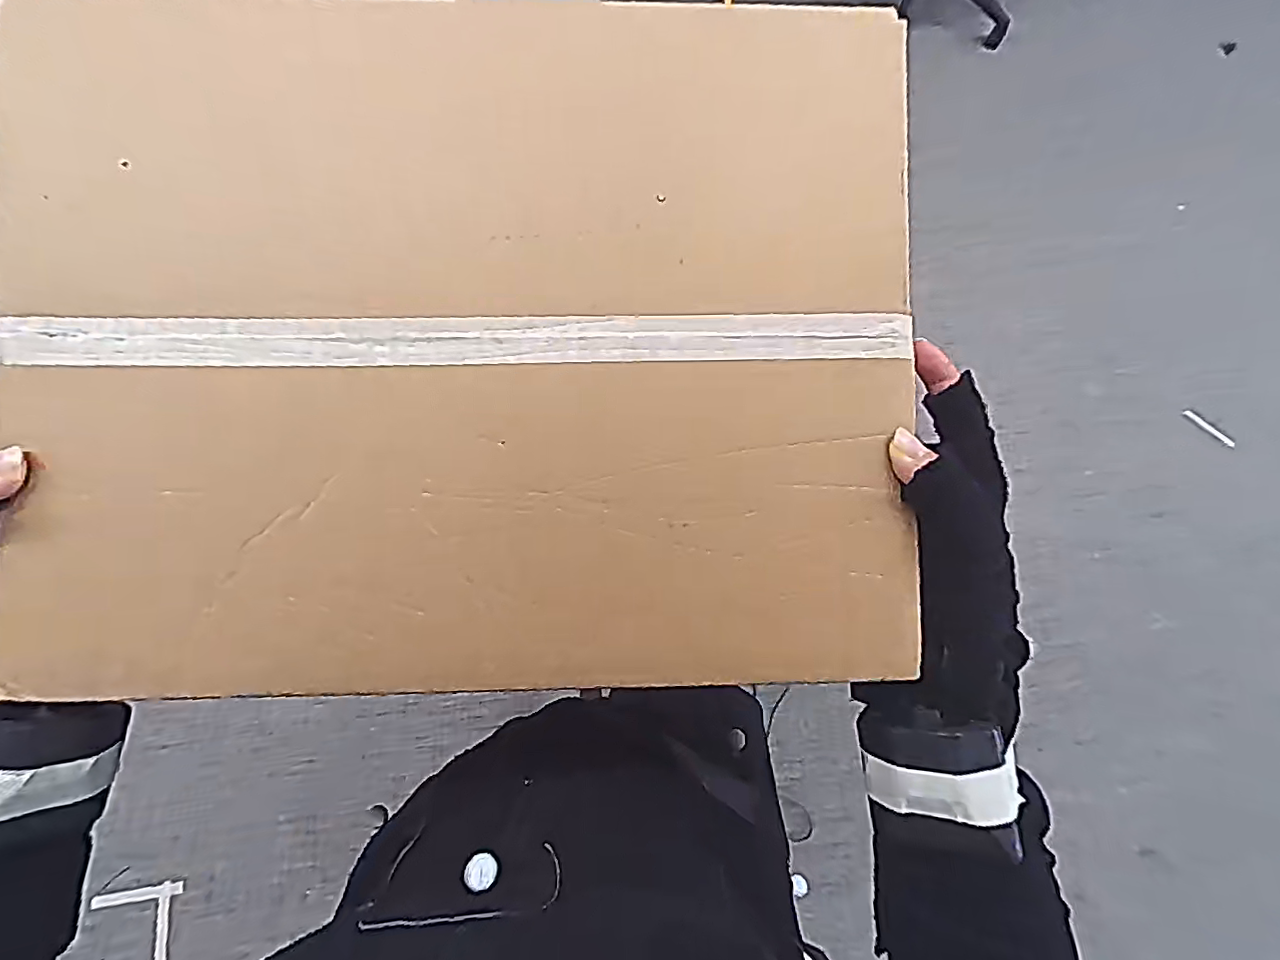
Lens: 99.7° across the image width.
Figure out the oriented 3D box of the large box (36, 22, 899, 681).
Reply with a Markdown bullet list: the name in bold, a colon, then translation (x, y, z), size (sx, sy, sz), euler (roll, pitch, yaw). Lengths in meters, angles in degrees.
- **large box**: translation (-0.078, -0.063, 0.405), size (0.408, 0.320, 0.320), euler (-1, 88, -2)
